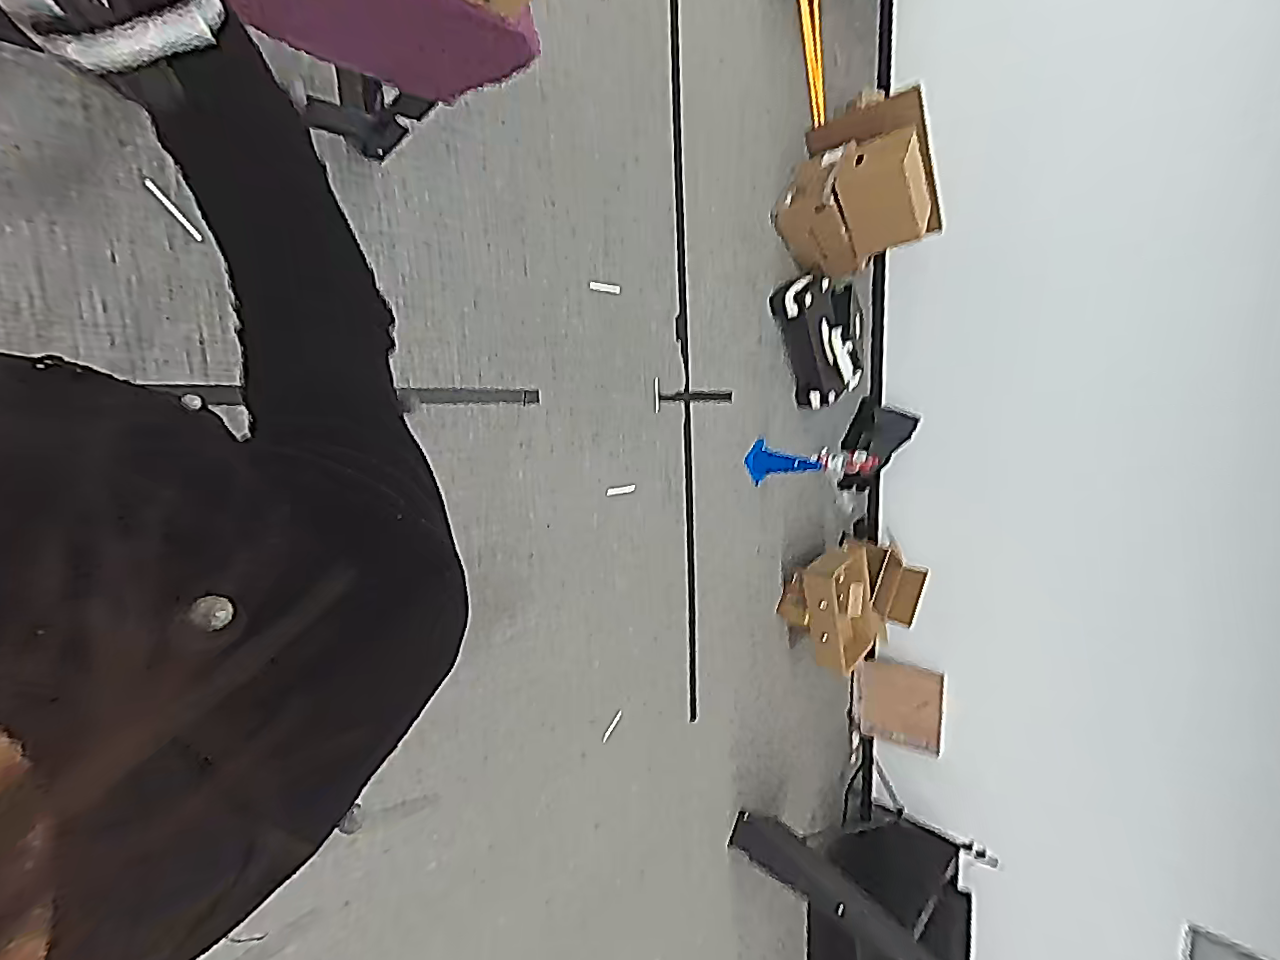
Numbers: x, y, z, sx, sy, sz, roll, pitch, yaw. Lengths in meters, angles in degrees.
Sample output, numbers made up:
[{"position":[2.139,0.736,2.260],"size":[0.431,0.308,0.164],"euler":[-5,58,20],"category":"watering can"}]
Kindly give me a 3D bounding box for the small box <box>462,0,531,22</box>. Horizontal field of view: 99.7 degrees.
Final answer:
[{"position":[-0.240,-0.887,0.846],"size":[0.168,0.176,0.179],"euler":[-8,99,-42],"category":"small box"}]
